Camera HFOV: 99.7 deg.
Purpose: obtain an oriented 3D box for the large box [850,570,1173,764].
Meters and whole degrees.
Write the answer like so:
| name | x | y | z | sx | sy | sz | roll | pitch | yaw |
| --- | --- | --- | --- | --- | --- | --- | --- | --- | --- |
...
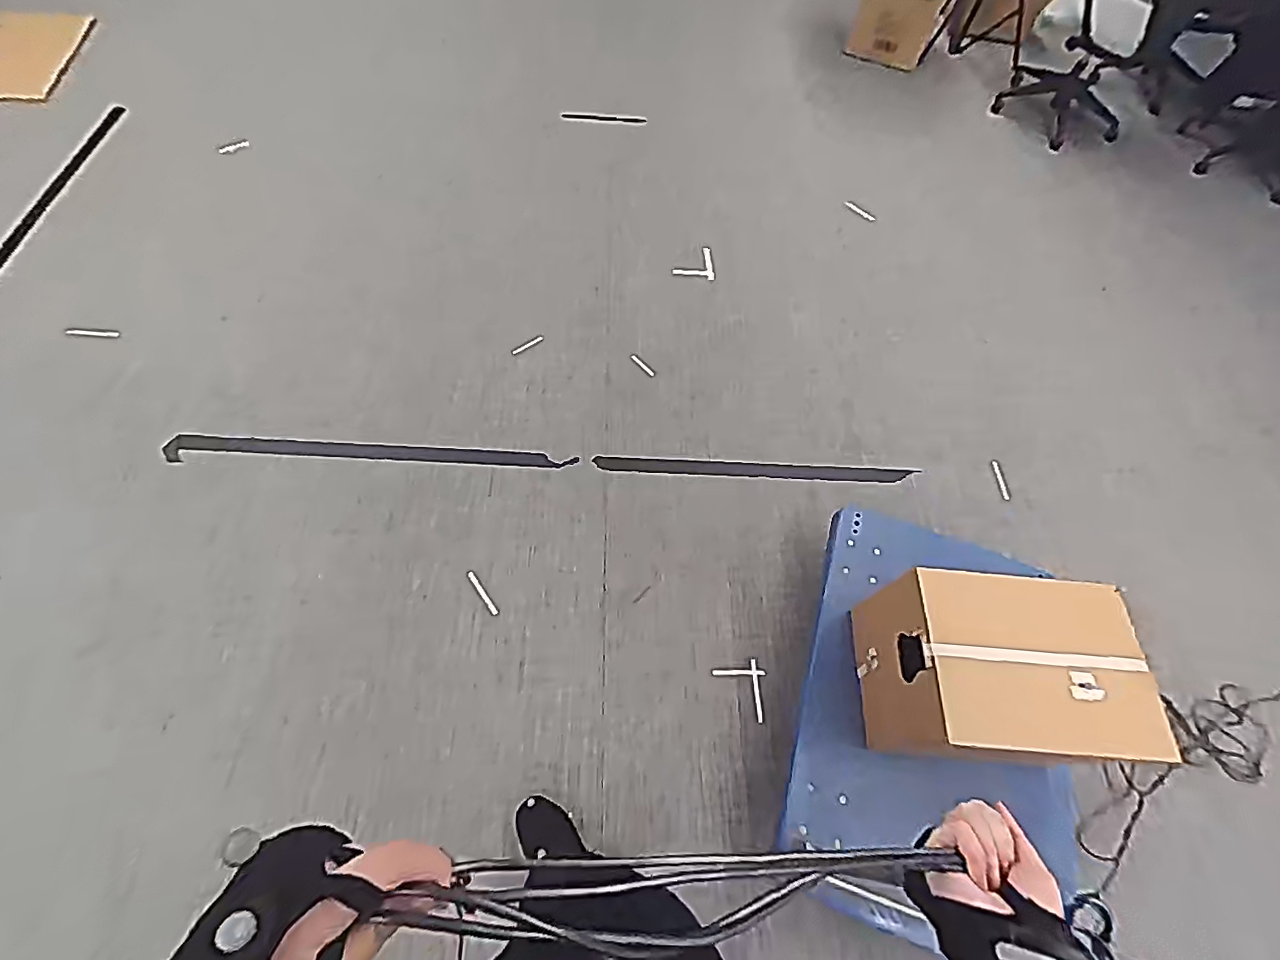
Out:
| name | x | y | z | sx | sy | sz | roll | pitch | yaw |
| --- | --- | --- | --- | --- | --- | --- | --- | --- | --- |
| large box | 0.701 | 0.394 | 1.105 | 0.408 | 0.320 | 0.320 | 6 | 62 | -2 |
